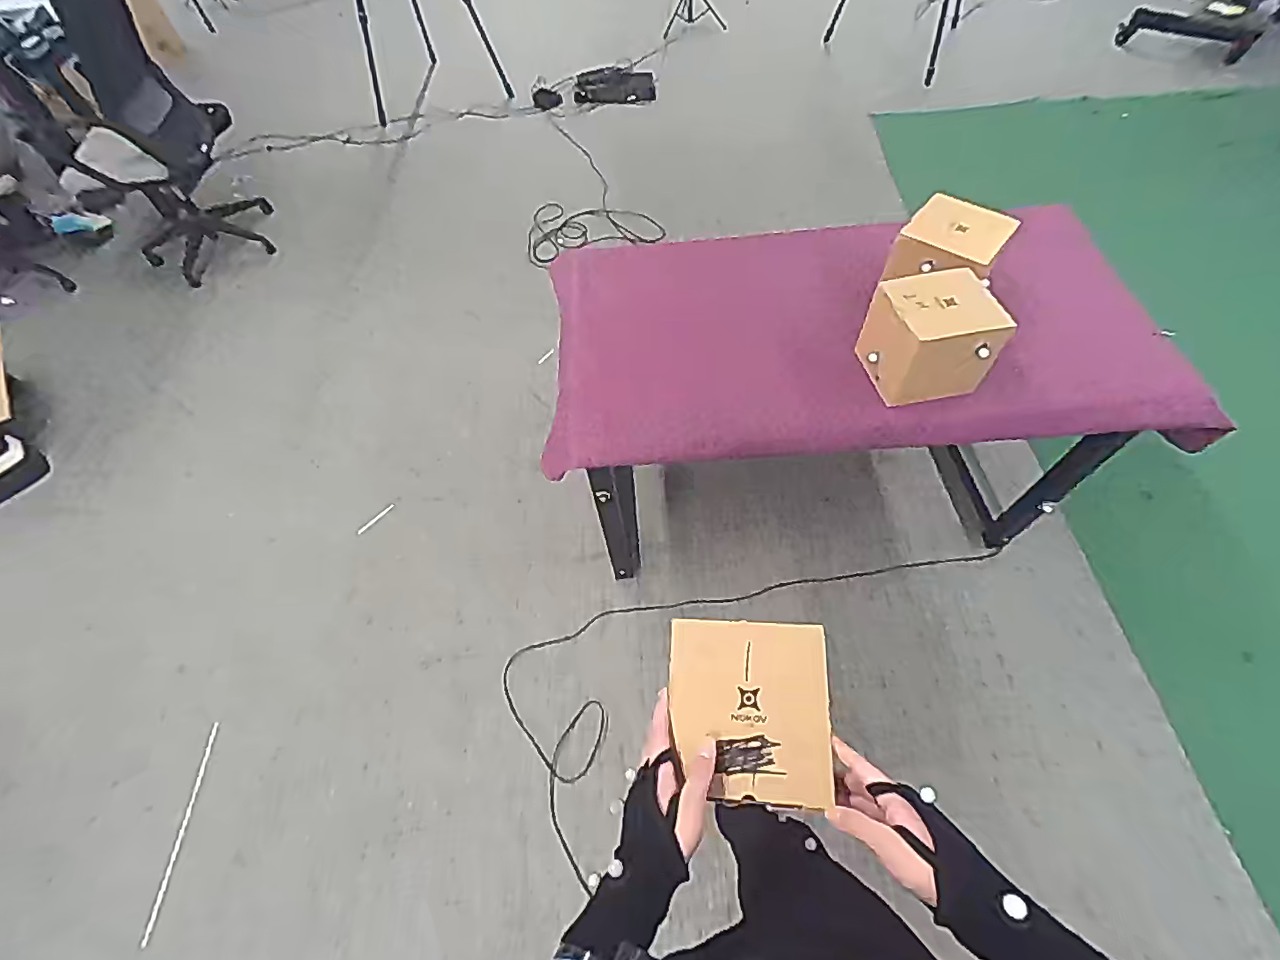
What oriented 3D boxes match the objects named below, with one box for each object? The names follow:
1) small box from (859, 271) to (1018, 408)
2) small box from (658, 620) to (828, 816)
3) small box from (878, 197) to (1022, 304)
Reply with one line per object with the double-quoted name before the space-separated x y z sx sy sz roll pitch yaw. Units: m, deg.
"small box" 0.537 -0.256 1.002 0.179 0.176 0.168 -10 56 -1
"small box" 0.113 0.265 0.625 0.168 0.176 0.179 1 67 6
"small box" 0.627 -0.440 1.115 0.179 0.176 0.168 34 67 23
